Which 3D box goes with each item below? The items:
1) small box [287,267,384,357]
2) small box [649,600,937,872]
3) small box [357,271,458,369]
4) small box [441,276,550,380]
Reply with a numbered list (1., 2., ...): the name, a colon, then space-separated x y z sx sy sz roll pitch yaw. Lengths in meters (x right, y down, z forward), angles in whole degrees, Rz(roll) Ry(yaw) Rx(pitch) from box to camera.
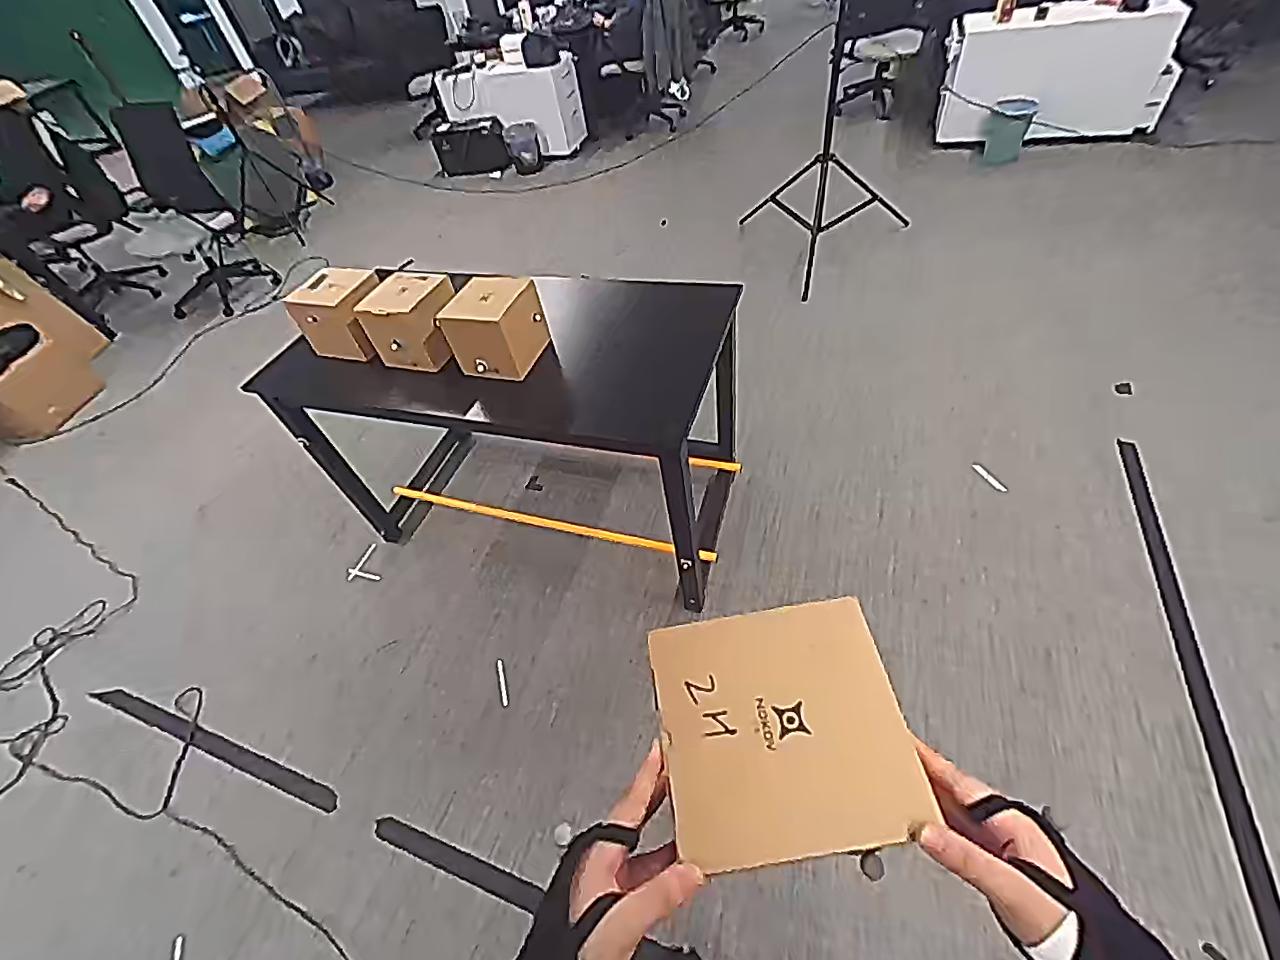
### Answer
1. small box: -0.772 -0.445 1.434 0.179 0.176 0.168 10 52 17
2. small box: 0.109 0.221 0.463 0.179 0.176 0.168 -10 55 1
3. small box: -0.557 -0.400 1.359 0.168 0.176 0.179 10 52 17
4. small box: -0.332 -0.362 1.289 0.168 0.176 0.179 8 52 18
